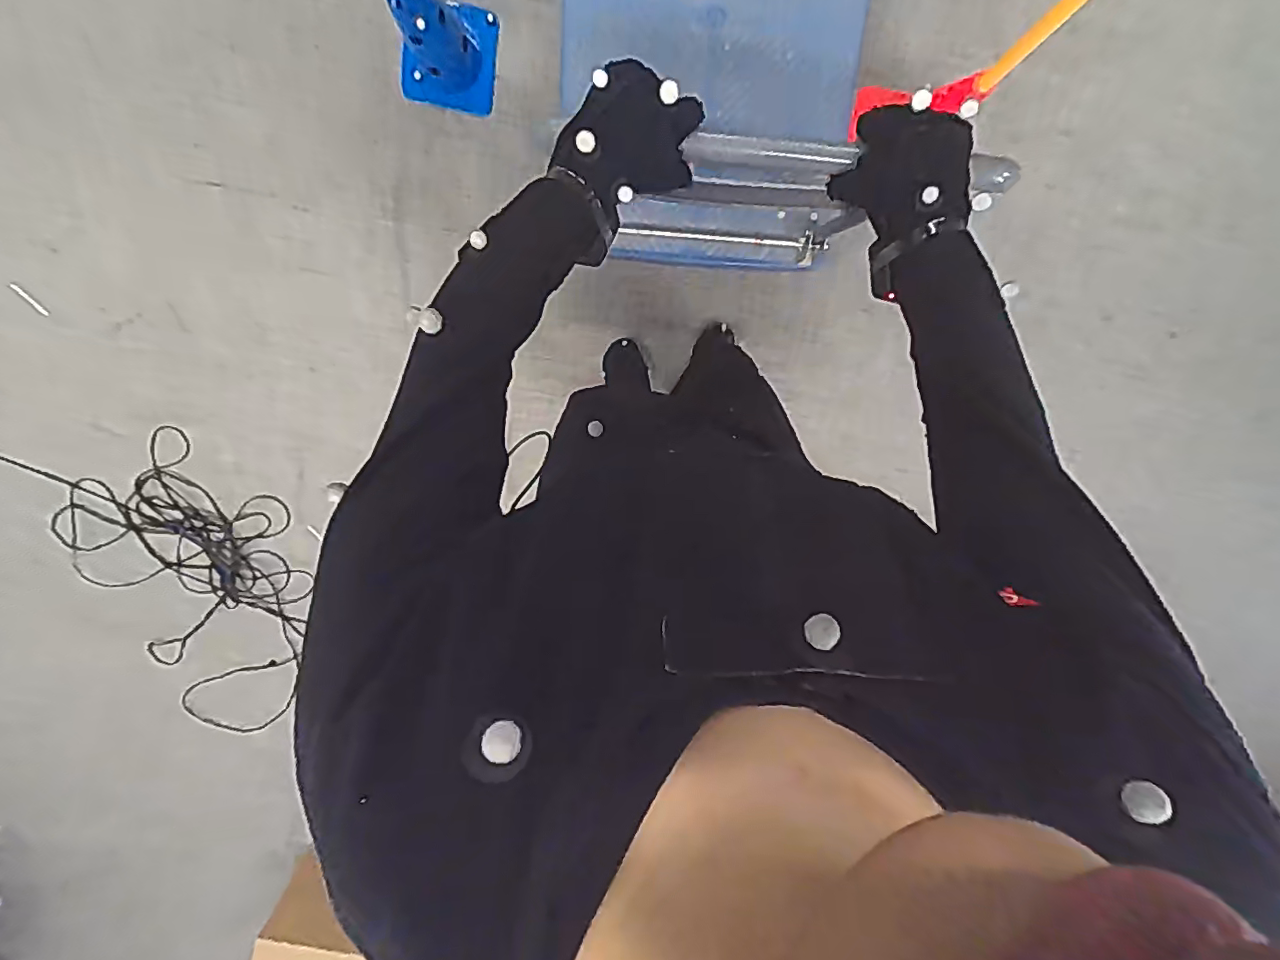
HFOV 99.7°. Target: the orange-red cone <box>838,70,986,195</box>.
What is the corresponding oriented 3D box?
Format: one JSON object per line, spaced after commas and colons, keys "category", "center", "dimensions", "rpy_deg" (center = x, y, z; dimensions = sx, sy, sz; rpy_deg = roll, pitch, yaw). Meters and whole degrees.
{"category": "orange-red cone", "center": [0.577, -0.736, 1.100], "dimensions": [0.199, 0.360, 0.198], "rpy_deg": [10, 107, -3]}
